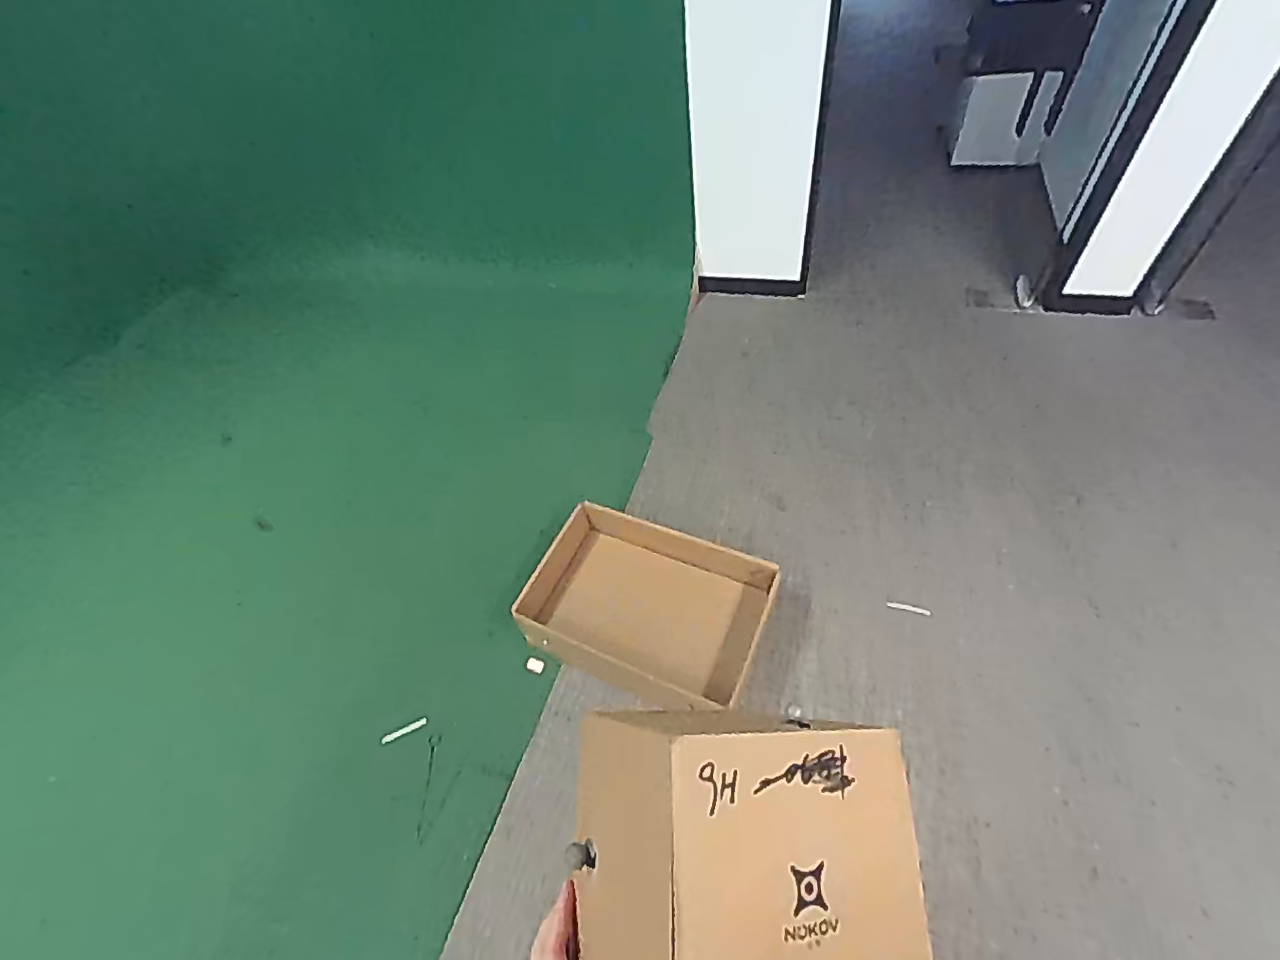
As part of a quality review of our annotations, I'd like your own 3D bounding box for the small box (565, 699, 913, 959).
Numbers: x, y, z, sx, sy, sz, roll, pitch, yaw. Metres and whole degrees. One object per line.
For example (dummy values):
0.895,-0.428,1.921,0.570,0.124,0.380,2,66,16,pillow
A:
0.051,0.250,0.367,0.168,0.176,0.179,8,70,-21,small box
